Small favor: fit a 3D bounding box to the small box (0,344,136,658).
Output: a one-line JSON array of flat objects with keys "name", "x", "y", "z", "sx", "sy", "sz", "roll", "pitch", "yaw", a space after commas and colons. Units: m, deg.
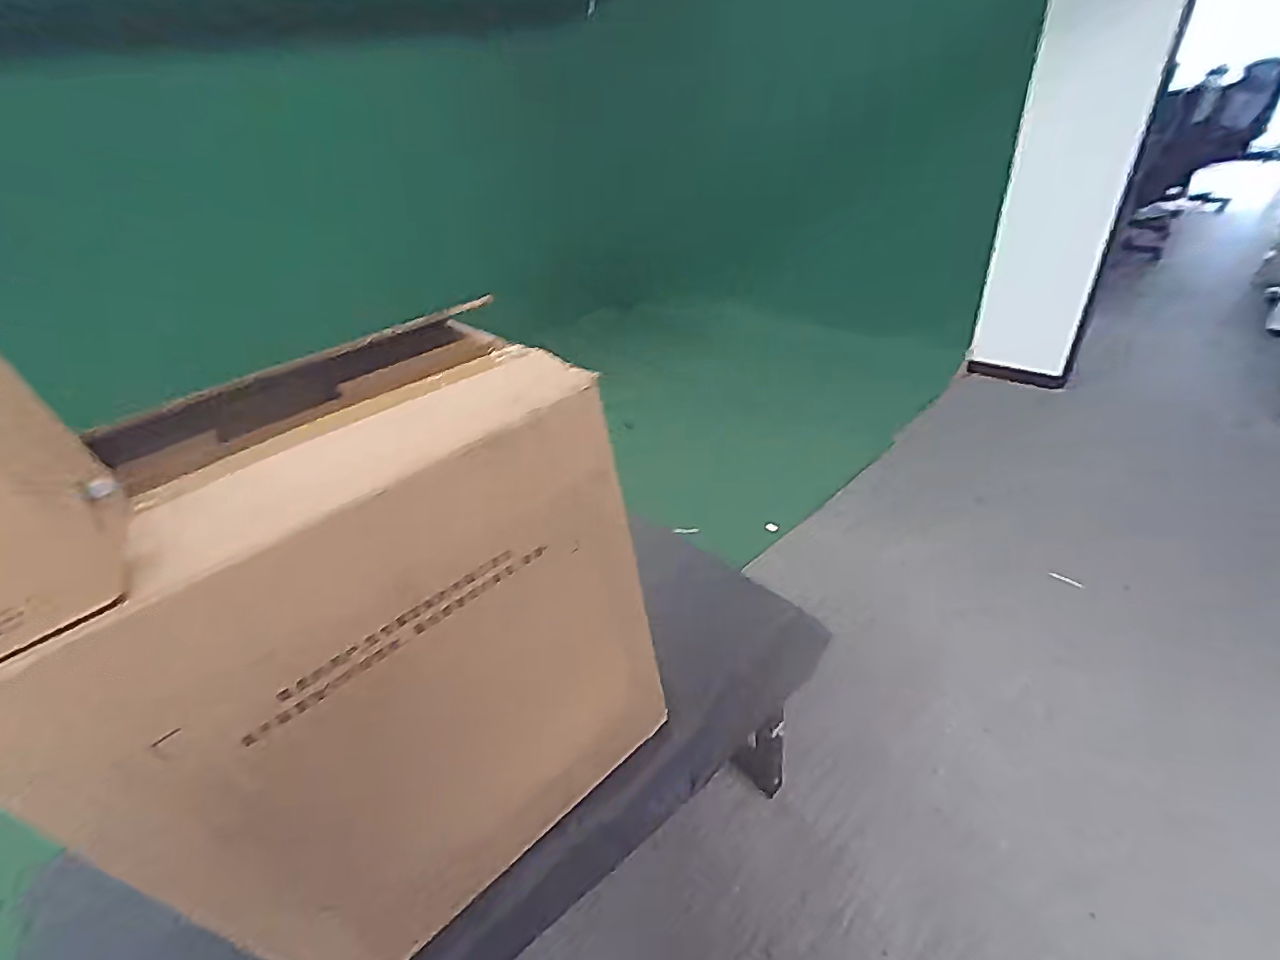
[{"name": "small box", "x": -0.468, "y": 0.020, "z": 0.339, "sx": 0.168, "sy": 0.176, "sz": 0.179, "roll": -33, "pitch": 41, "yaw": -26}]
